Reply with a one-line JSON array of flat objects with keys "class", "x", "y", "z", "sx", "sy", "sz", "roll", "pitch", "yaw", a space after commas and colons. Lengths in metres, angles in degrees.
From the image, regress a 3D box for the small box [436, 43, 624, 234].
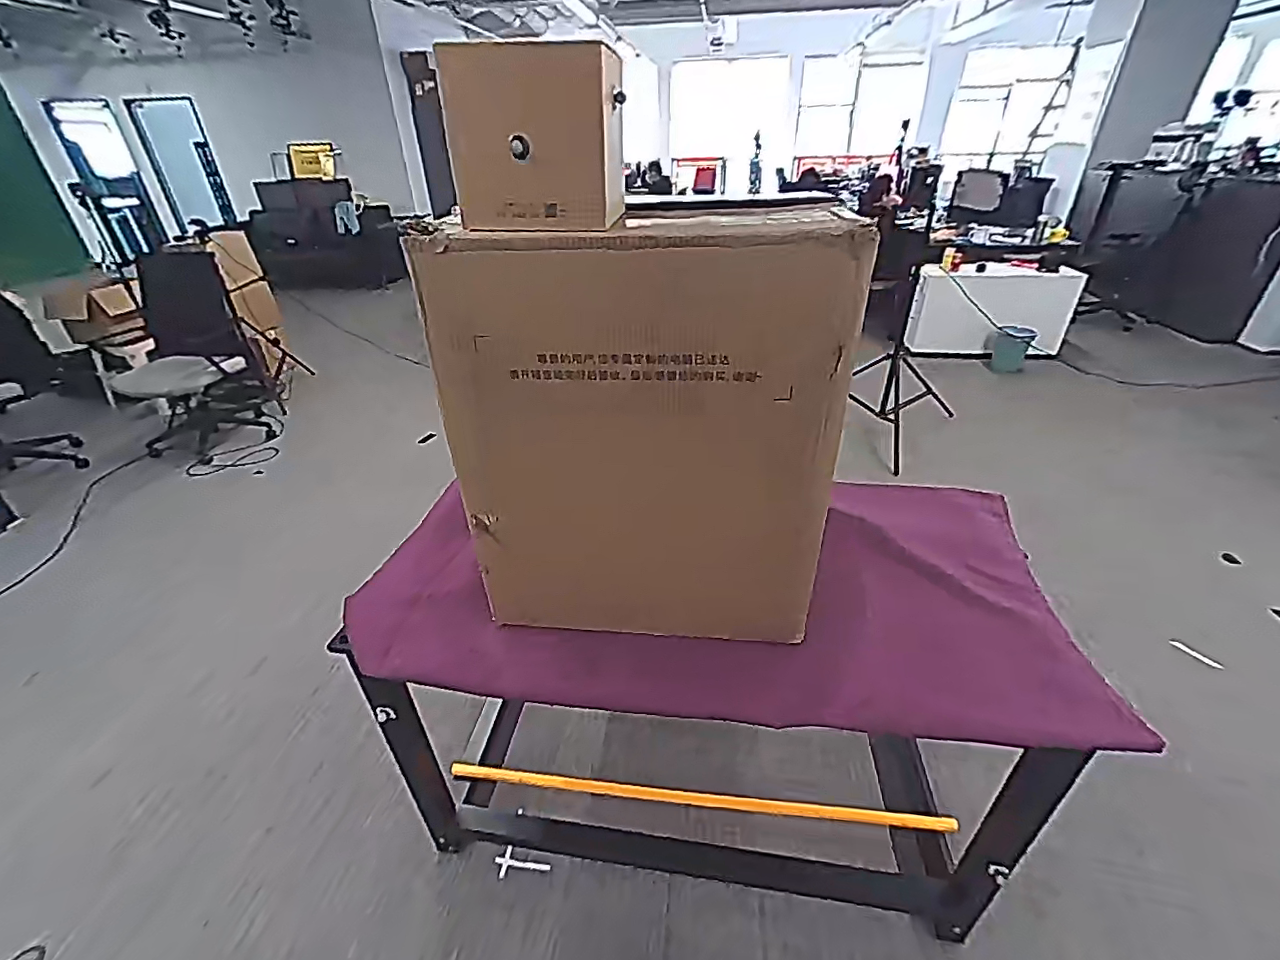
[{"class": "small box", "x": -0.109, "y": -0.388, "z": 0.628, "sx": 0.168, "sy": 0.176, "sz": 0.179, "roll": 3, "pitch": 33, "yaw": 4}]
